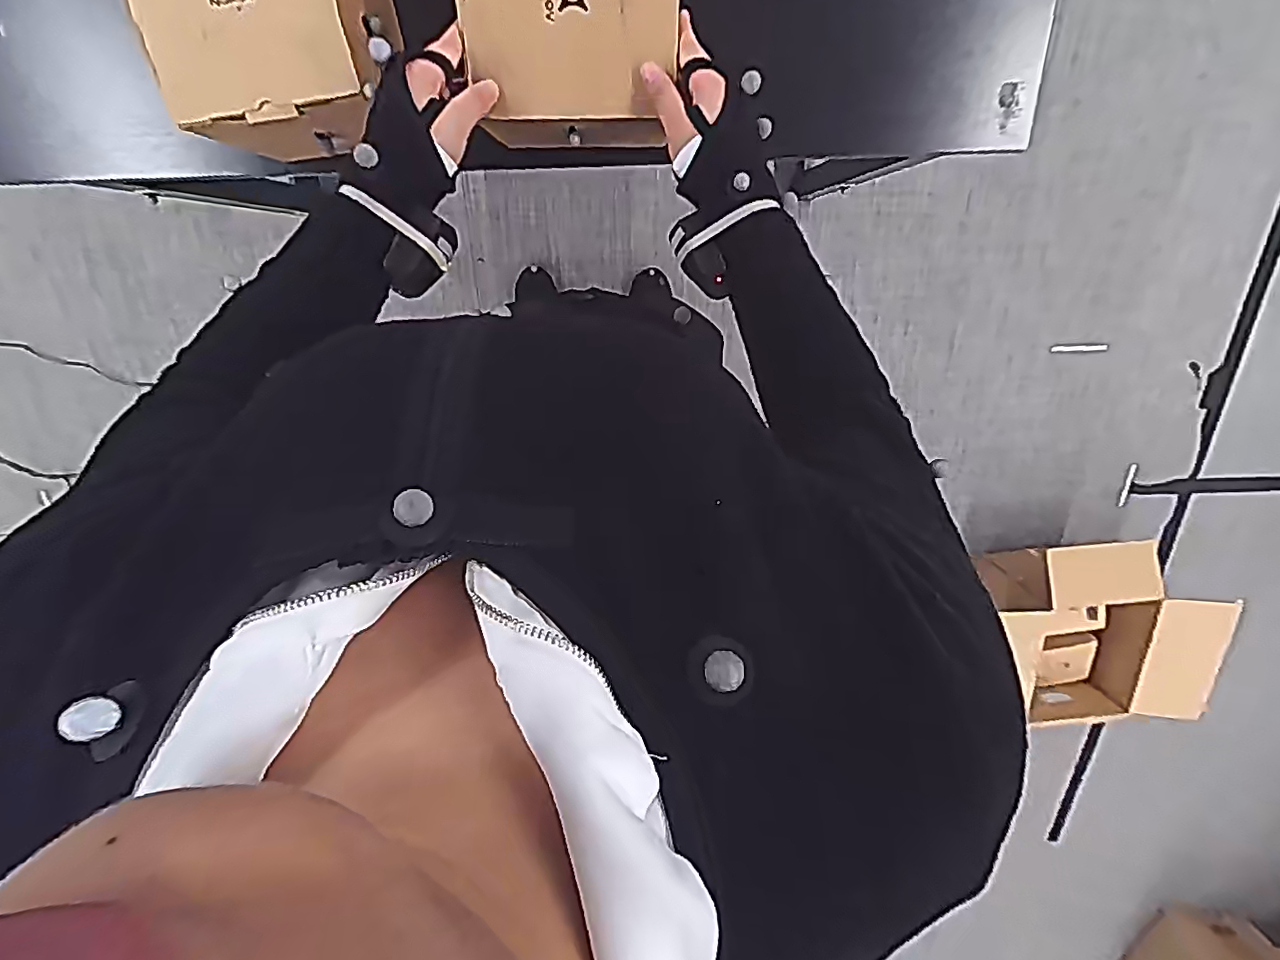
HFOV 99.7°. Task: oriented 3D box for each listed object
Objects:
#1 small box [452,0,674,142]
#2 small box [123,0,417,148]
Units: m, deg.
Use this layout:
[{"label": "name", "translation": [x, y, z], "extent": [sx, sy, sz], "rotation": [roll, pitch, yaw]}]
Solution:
[{"label": "small box", "translation": [-0.062, -0.414, 0.489], "extent": [0.179, 0.176, 0.168], "rotation": [-2, 115, -1]}, {"label": "small box", "translation": [-0.331, -0.423, 0.499], "extent": [0.168, 0.176, 0.179], "rotation": [-8, 112, 1]}]
